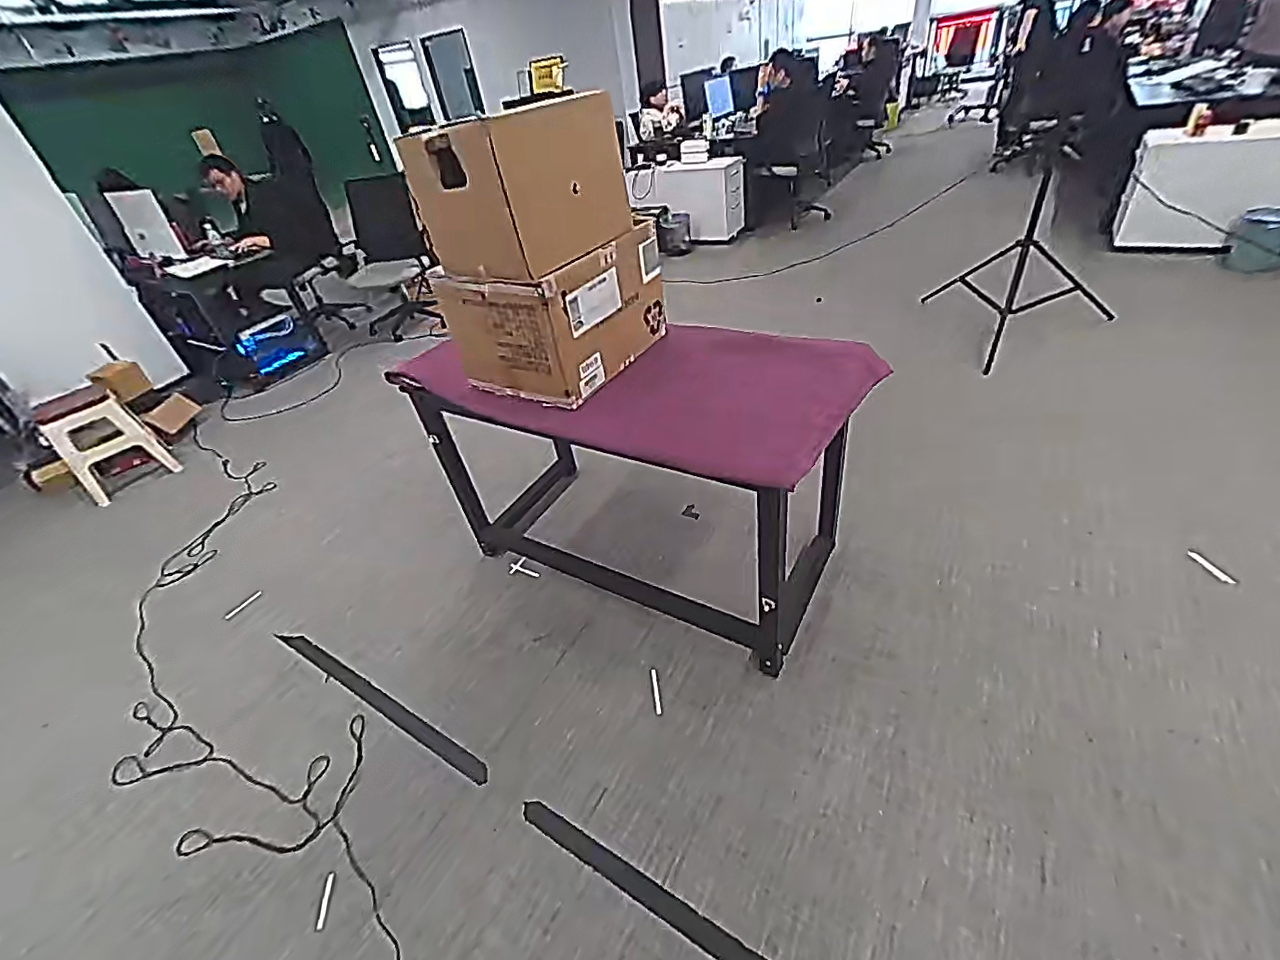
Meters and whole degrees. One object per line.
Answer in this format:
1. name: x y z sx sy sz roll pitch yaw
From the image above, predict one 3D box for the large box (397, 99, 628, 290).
1. large box: -0.280 -0.692 1.317 0.320 0.320 0.408 13 43 33
